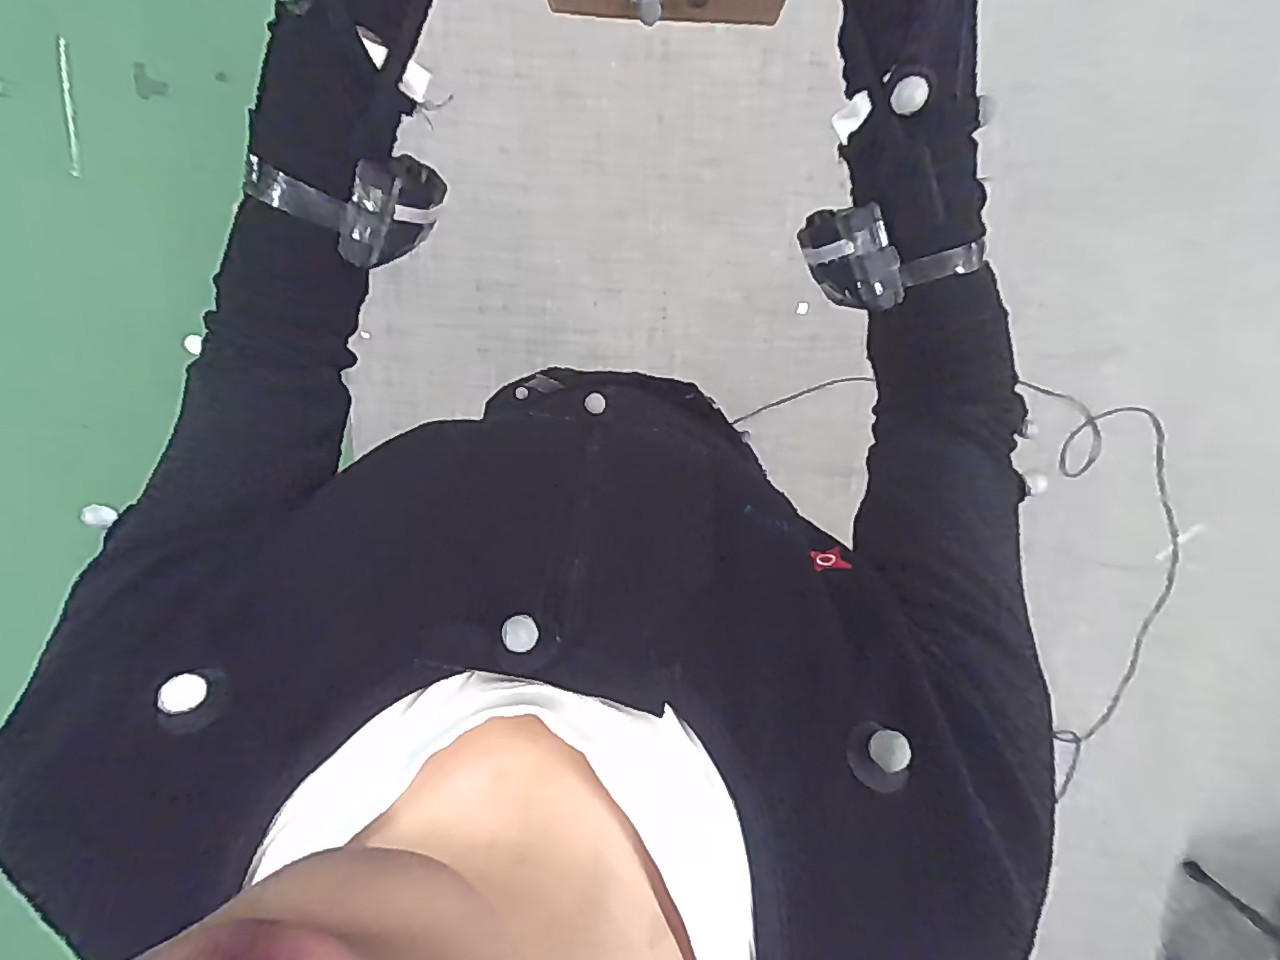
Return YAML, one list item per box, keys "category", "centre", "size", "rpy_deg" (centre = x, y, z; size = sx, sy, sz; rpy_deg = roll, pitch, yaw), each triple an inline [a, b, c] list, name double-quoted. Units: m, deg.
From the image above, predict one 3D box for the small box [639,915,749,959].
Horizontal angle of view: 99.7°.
- category: "small box"
  centre: [0.083, 0.784, 0.794]
  size: [0.168, 0.176, 0.179]
  rpy_deg: [-3, 102, 2]

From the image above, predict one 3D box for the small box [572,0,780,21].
- category: "small box"
  centre: [0.024, -0.401, 0.290]
  size: [0.168, 0.176, 0.179]
  rpy_deg: [2, 104, 0]
